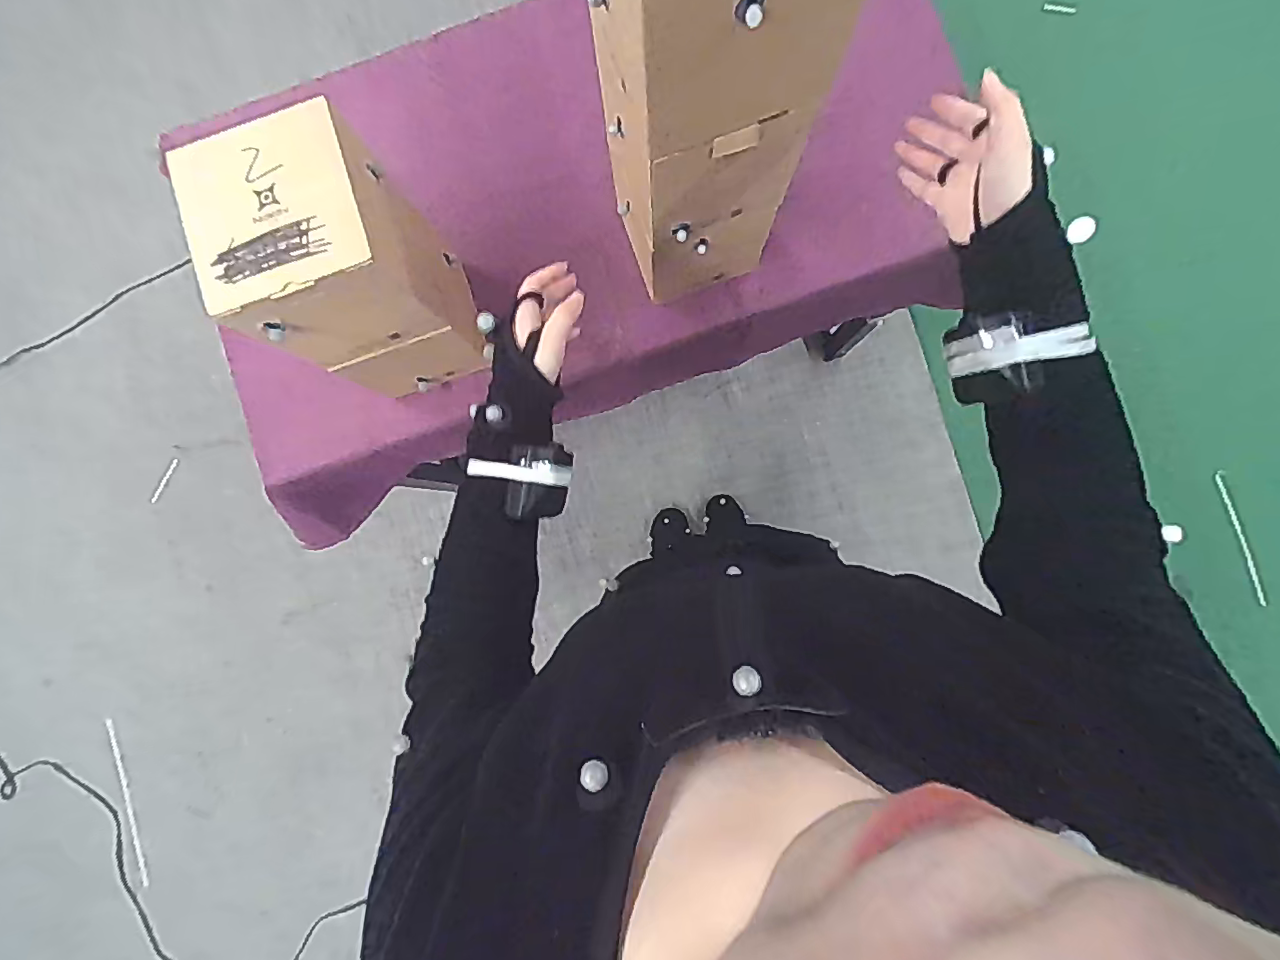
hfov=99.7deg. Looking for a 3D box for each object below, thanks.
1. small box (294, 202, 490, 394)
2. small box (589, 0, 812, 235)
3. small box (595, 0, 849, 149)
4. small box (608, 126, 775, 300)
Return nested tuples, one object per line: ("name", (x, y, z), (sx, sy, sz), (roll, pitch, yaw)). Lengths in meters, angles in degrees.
("small box", (-0.331, -0.239, 0.752), (0.168, 0.176, 0.179), (-18, 87, 2))
("small box", (0.059, -0.392, 0.578), (0.168, 0.176, 0.179), (-20, 85, 1))
("small box", (0.056, -0.398, 0.414), (0.179, 0.176, 0.168), (-19, 87, 1))
("small box", (0.066, -0.380, 0.742), (0.168, 0.176, 0.179), (-19, 85, 3))
